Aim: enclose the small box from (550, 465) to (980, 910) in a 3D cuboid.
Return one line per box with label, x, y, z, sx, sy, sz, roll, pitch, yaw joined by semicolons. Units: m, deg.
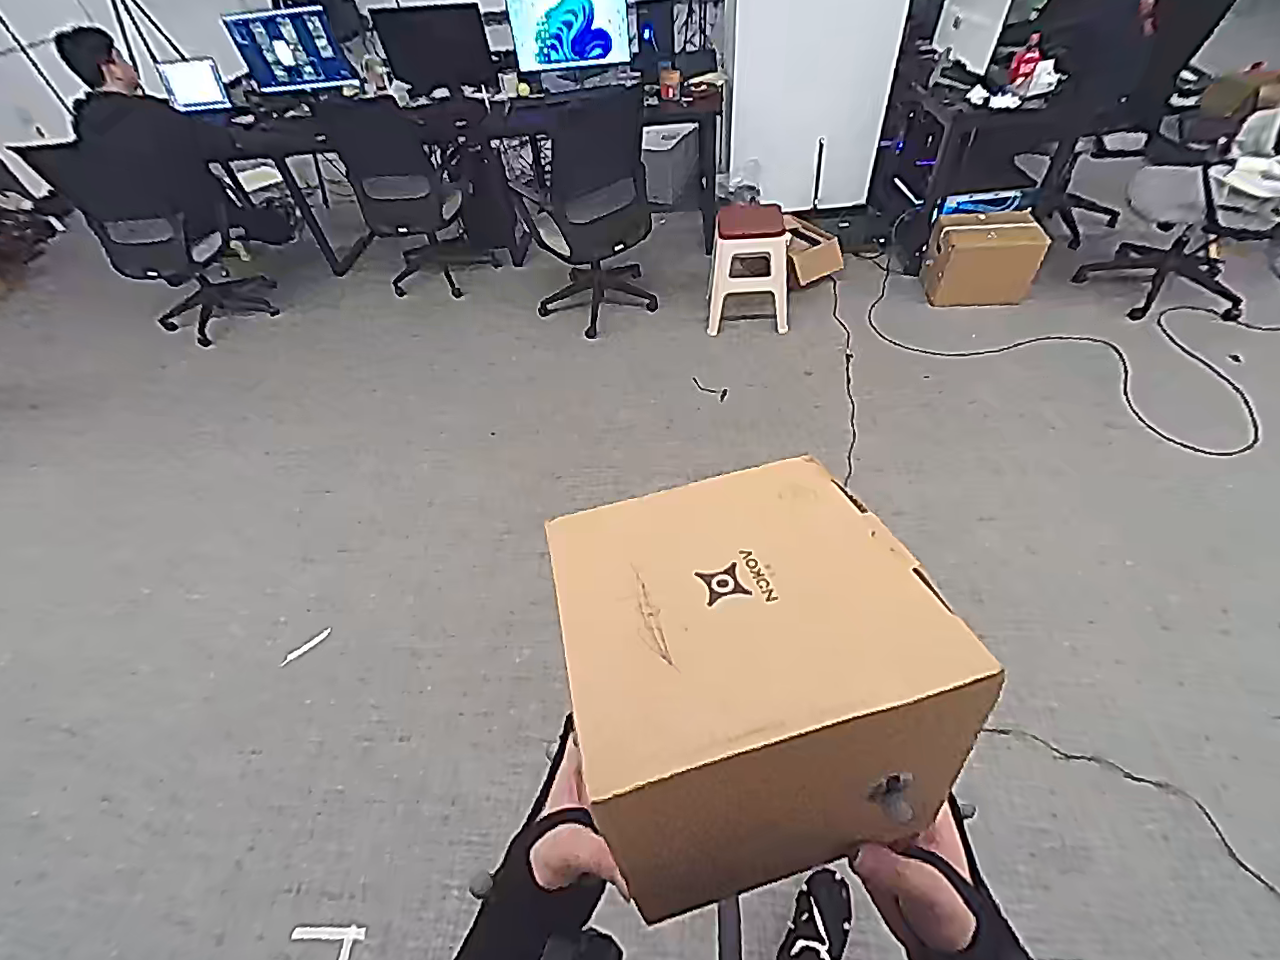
small box;0.055;0.120;0.331;0.179;0.176;0.168;-15;38;-6
